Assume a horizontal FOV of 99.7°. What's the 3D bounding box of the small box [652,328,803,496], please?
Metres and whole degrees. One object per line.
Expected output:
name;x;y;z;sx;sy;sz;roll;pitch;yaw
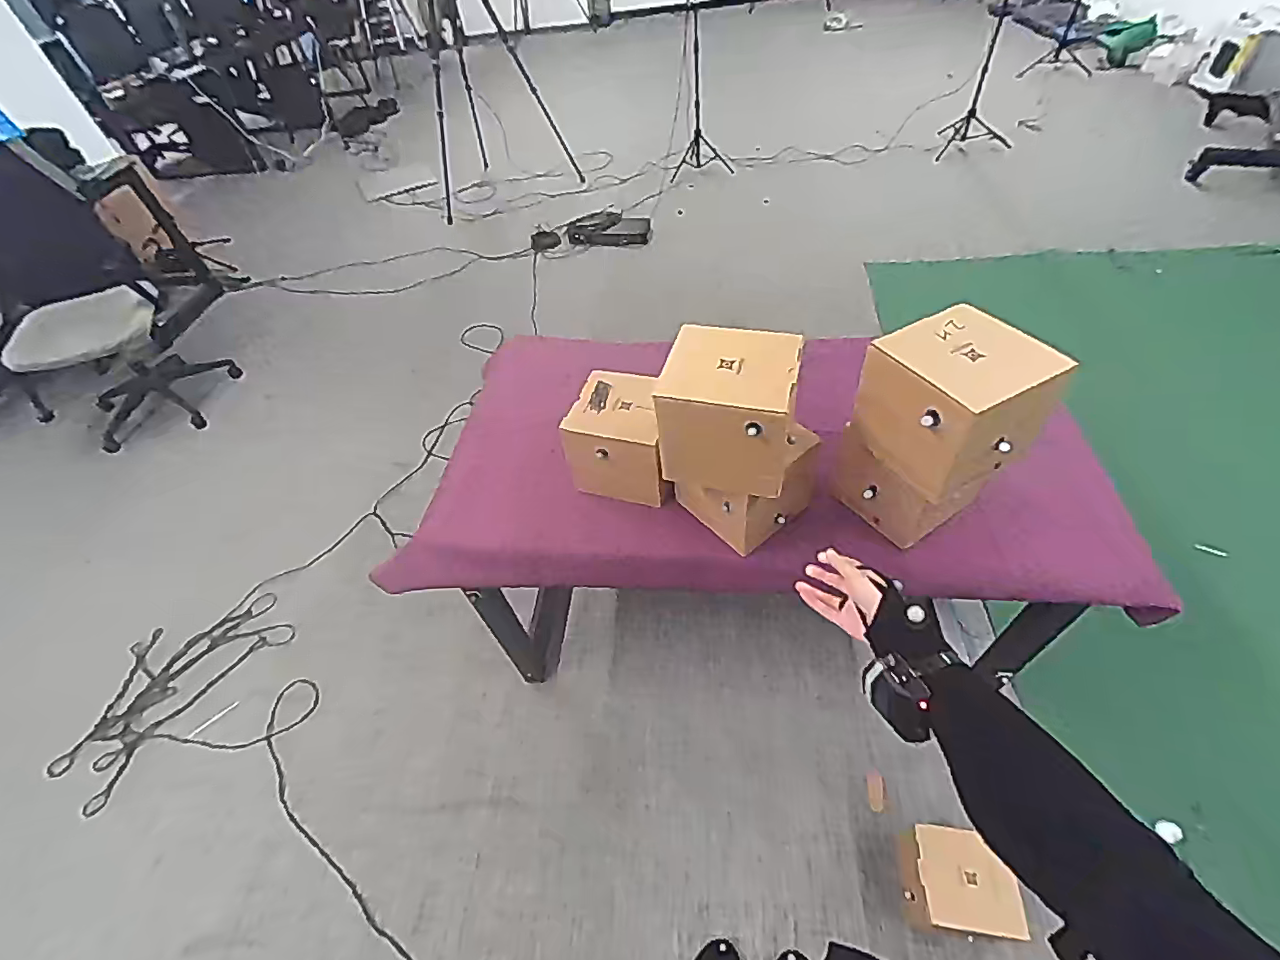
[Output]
small box;0.128;-0.097;0.784;0.179;0.176;0.168;10;51;15

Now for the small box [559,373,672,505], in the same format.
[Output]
small box;-0.026;-0.074;1.001;0.179;0.176;0.168;11;52;16

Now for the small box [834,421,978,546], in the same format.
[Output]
small box;0.443;-0.022;0.894;0.179;0.176;0.168;-30;51;-17

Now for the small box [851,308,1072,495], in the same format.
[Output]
small box;0.422;-0.102;0.746;0.168;0.176;0.179;-23;49;-13

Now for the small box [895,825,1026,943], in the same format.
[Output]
small box;0.634;0.825;1.102;0.179;0.176;0.168;3;50;9
